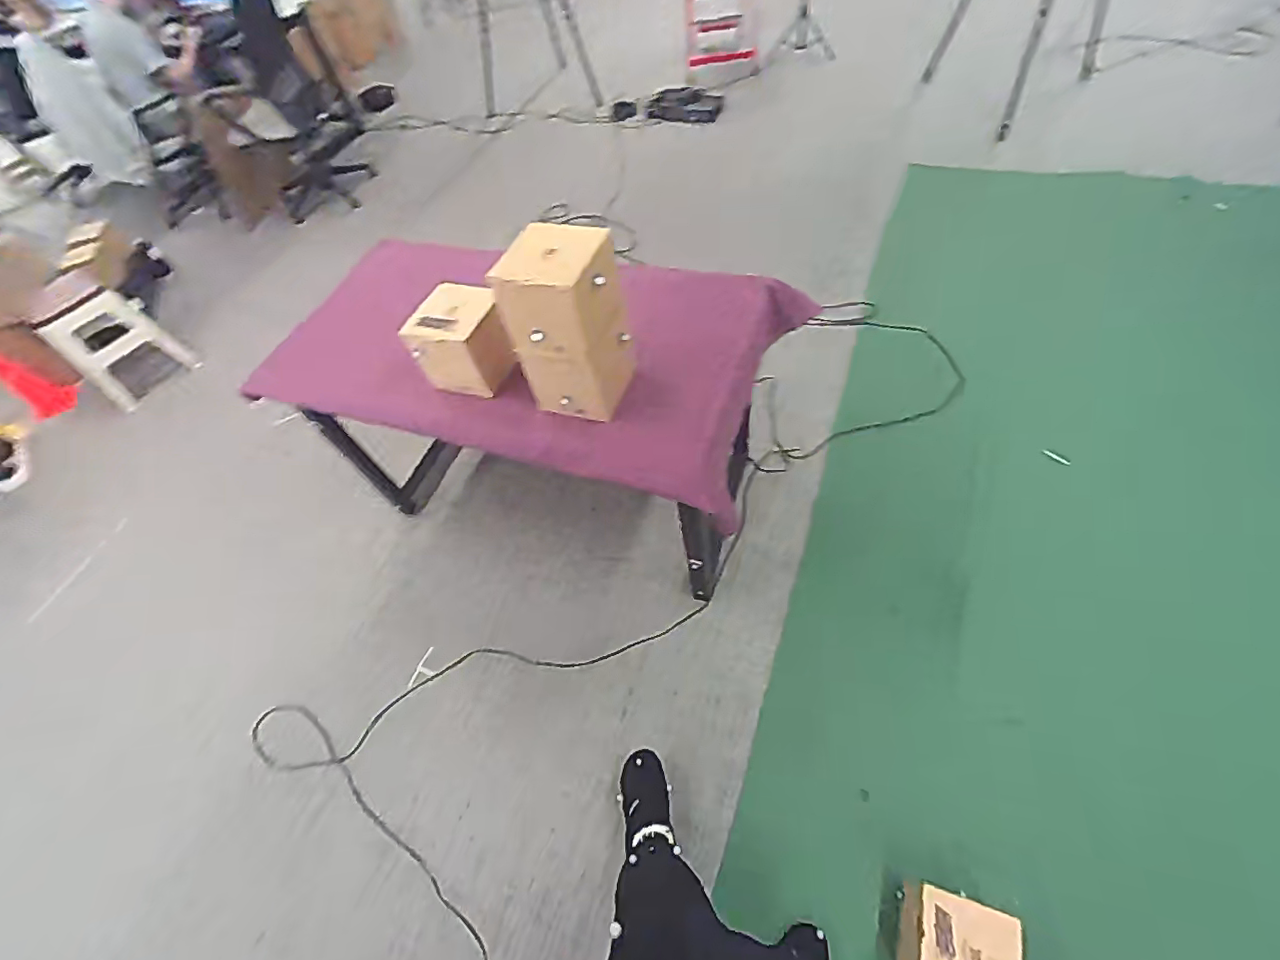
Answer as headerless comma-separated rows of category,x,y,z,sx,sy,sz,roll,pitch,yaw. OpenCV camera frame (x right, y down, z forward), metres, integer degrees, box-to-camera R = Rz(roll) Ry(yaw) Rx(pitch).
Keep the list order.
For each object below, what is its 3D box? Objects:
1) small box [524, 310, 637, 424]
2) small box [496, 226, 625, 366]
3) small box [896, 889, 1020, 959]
small box,-0.114,-0.247,1.141,0.168,0.176,0.179,13,58,19
small box,-0.135,-0.343,1.012,0.168,0.176,0.179,14,59,18
small box,0.627,0.951,1.082,0.179,0.176,0.168,13,59,17
